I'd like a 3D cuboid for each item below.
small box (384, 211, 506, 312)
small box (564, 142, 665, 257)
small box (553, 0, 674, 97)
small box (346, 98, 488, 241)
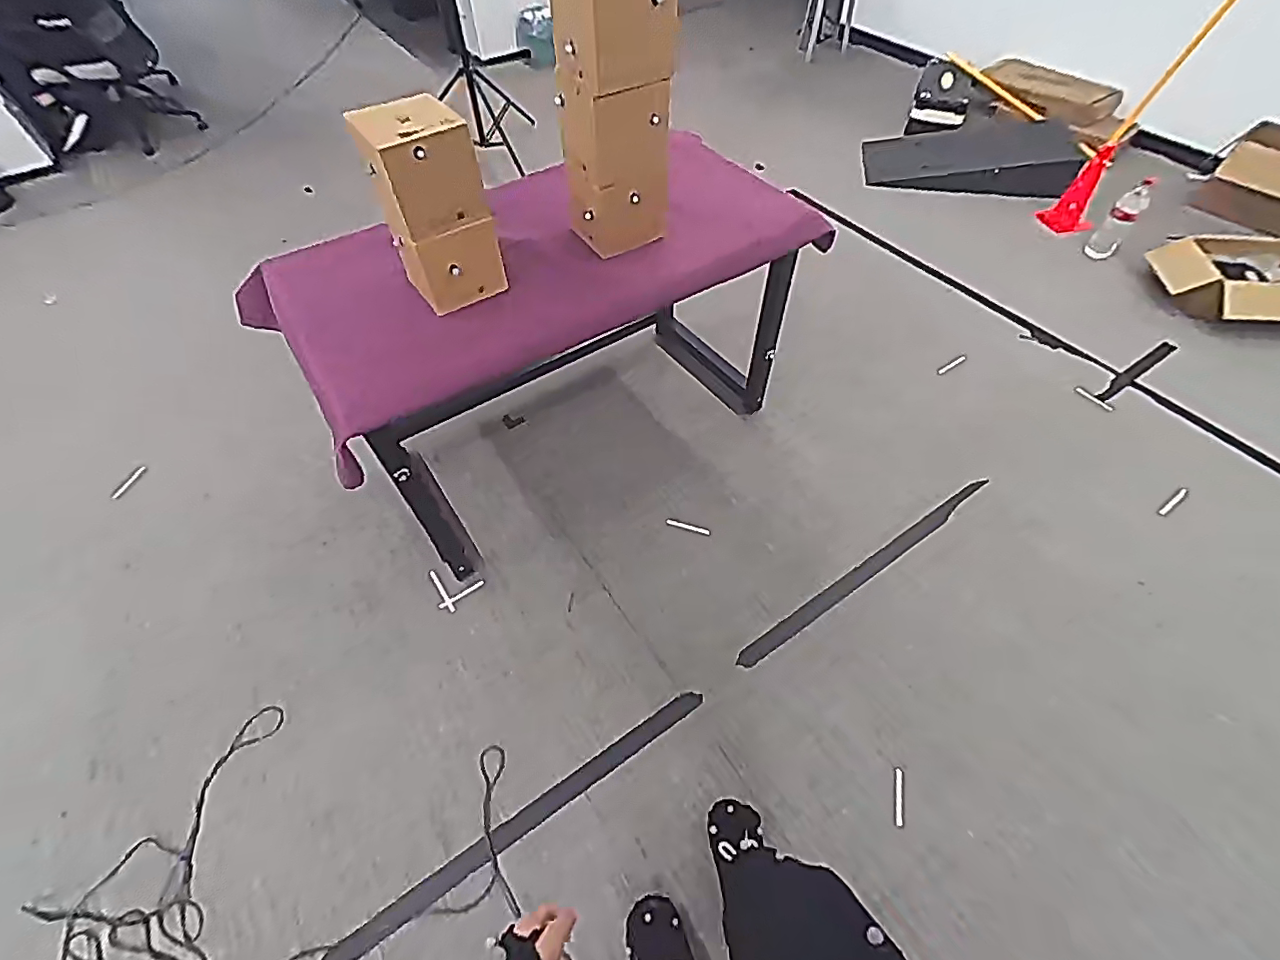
[{"bbox_3d":[-0.406,-0.483,1.151,0.168,0.176,0.179,-31,59,-19],"label":"small box"},{"bbox_3d":[-0.056,-0.650,1.262,0.179,0.176,0.168,-28,60,-18],"label":"small box"},{"bbox_3d":[-0.051,-0.842,0.994,0.179,0.176,0.168,-29,59,-17],"label":"small box"},{"bbox_3d":[-0.413,-0.583,1.021,0.168,0.176,0.179,-33,59,-19],"label":"small box"}]
